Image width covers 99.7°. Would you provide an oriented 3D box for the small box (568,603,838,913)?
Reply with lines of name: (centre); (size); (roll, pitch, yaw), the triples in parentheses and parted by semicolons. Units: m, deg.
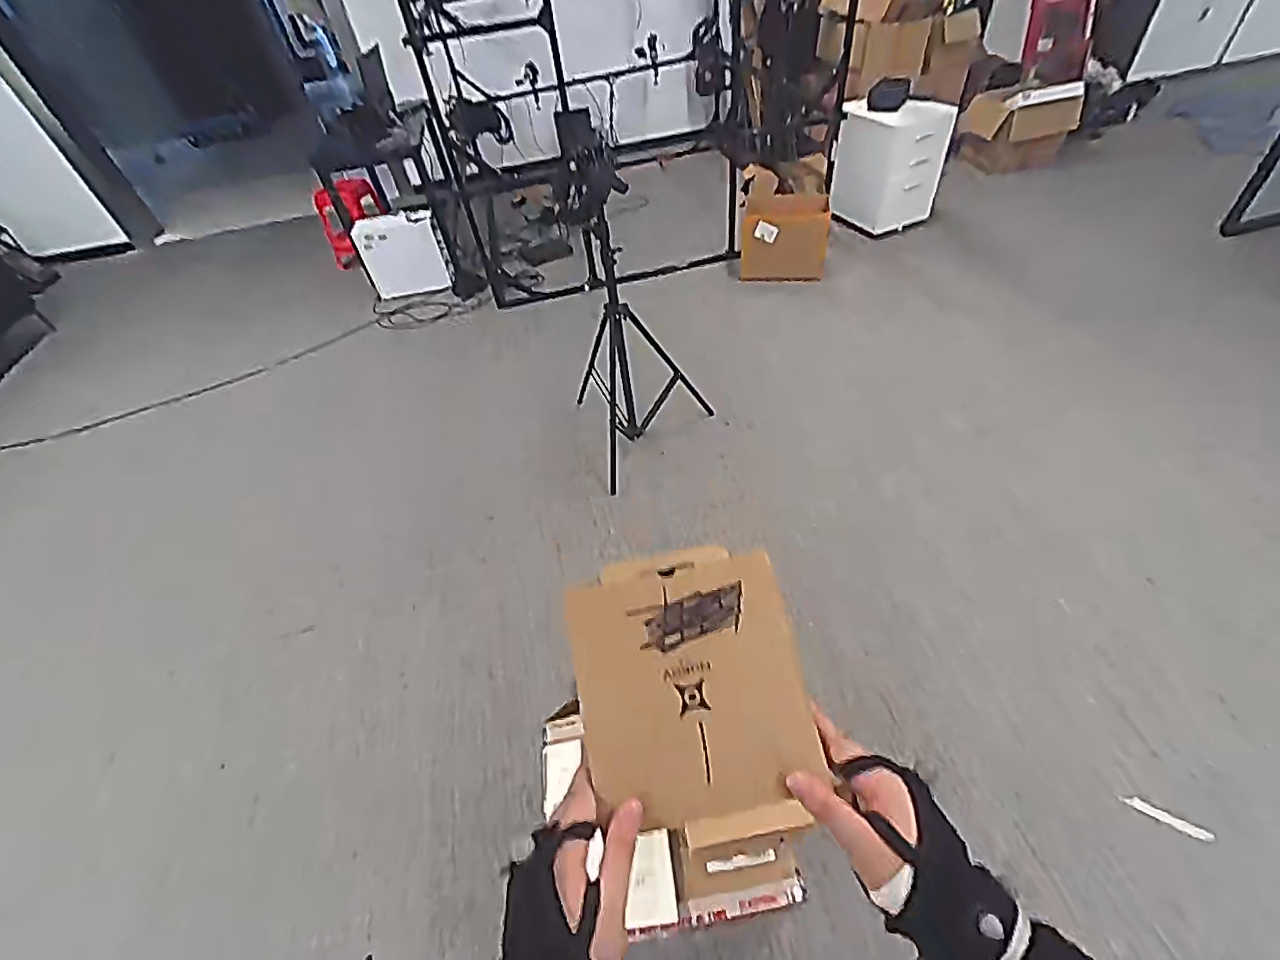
small box: (0.037, 0.216, 0.460); (0.168, 0.176, 0.179); (-10, 71, -5)
